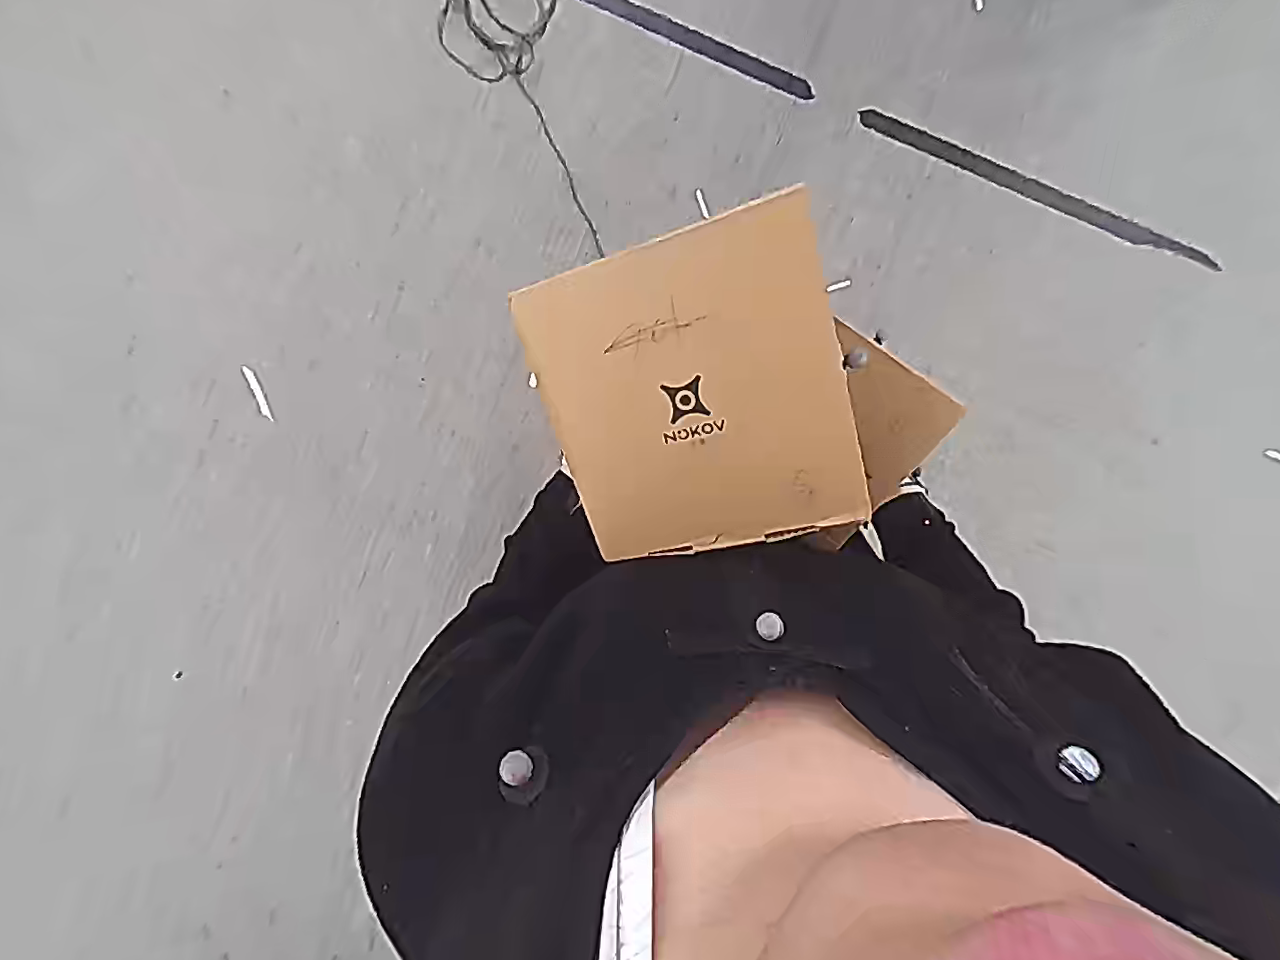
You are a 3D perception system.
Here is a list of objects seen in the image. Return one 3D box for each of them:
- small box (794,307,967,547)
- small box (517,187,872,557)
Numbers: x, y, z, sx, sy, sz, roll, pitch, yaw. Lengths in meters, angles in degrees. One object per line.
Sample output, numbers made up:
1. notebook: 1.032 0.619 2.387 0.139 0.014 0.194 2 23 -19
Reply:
1. small box: 0.162 -0.072 0.524 0.179 0.176 0.168 35 114 2
2. small box: 0.050 -0.072 0.373 0.168 0.176 0.179 -14 106 19
